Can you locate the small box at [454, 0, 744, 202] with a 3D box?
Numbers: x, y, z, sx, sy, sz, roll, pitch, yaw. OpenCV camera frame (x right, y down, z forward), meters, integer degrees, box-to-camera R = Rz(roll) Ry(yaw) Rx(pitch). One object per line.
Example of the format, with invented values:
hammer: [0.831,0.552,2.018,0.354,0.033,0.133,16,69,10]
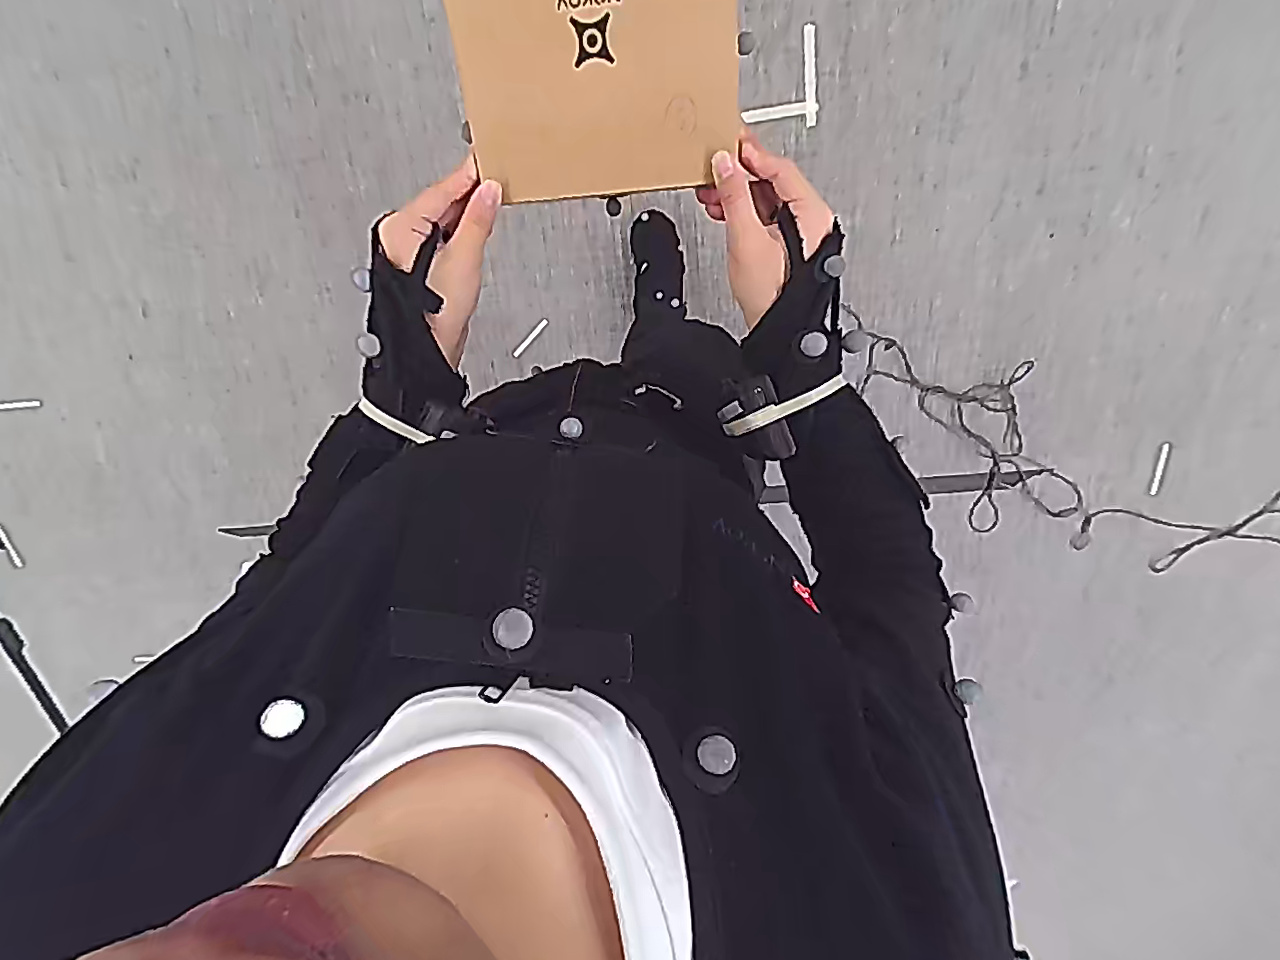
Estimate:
small box: [-0.019,-0.300,0.376,0.168,0.176,0.179,-3,117,4]
